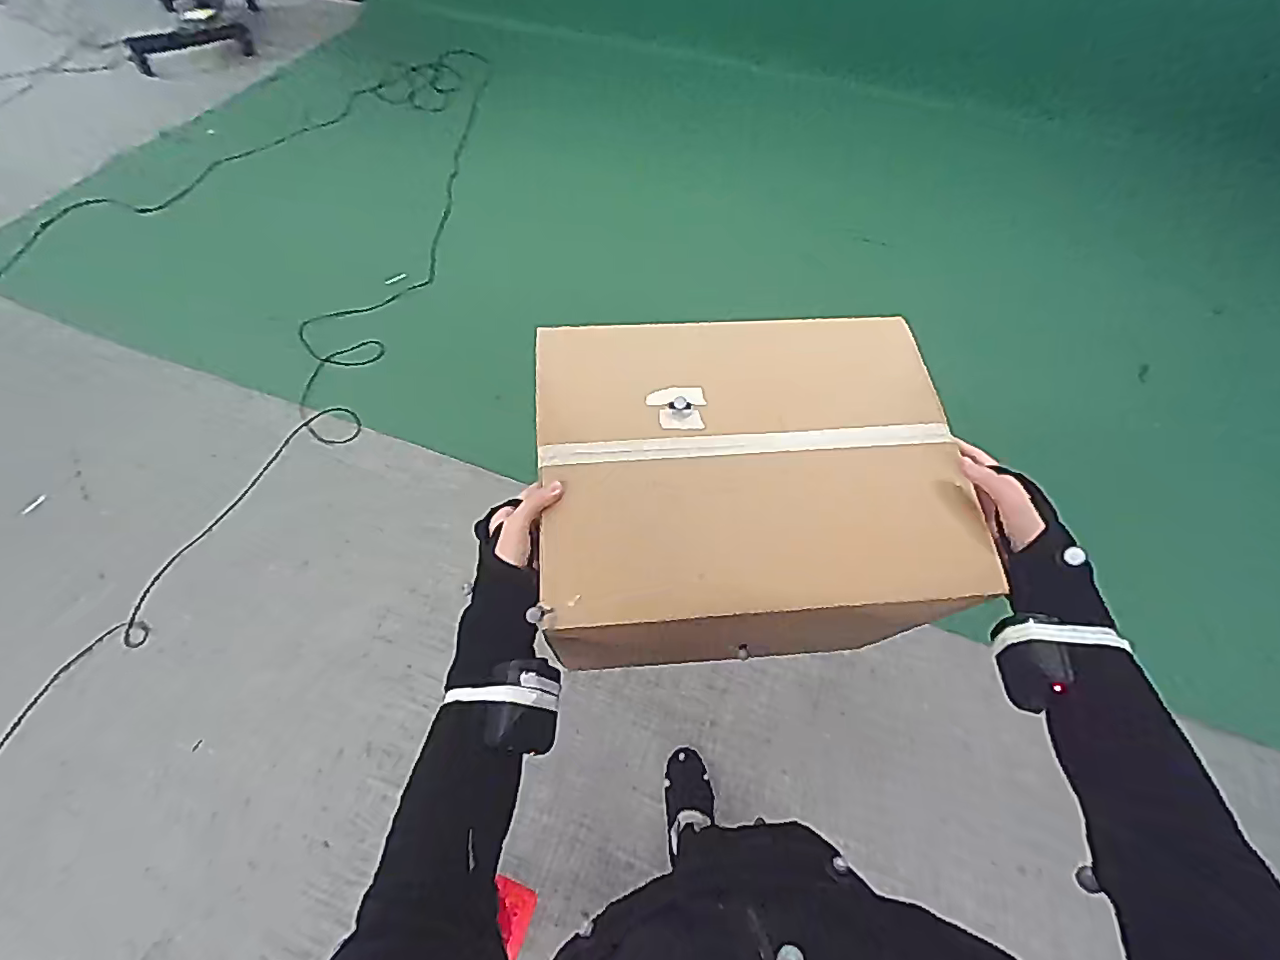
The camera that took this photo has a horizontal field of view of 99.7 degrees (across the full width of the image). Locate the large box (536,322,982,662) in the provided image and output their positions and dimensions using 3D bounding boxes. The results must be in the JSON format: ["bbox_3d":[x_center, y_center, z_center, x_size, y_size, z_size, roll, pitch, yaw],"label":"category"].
[{"bbox_3d":[0.097,0.036,0.668,0.408,0.320,0.320,-4,66,-4],"label":"large box"}]
